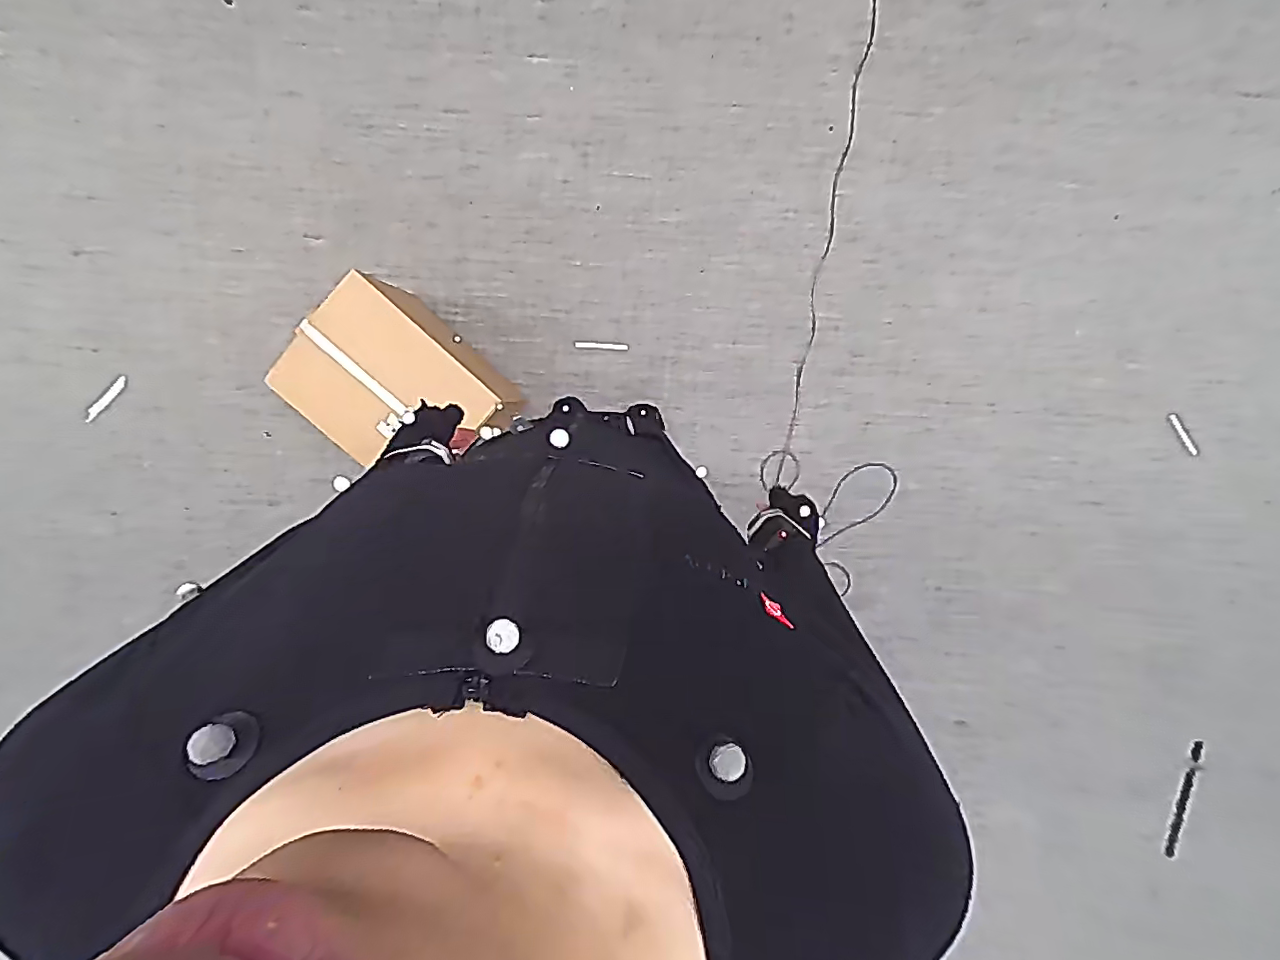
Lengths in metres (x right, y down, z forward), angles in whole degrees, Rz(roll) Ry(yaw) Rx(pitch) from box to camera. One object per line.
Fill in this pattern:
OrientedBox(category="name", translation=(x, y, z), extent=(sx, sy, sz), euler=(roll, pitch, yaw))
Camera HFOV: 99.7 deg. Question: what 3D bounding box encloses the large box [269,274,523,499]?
OrientedBox(category="large box", translation=(-0.555, -0.219, 1.310), extent=(0.408, 0.320, 0.320), euler=(42, 97, -8))
